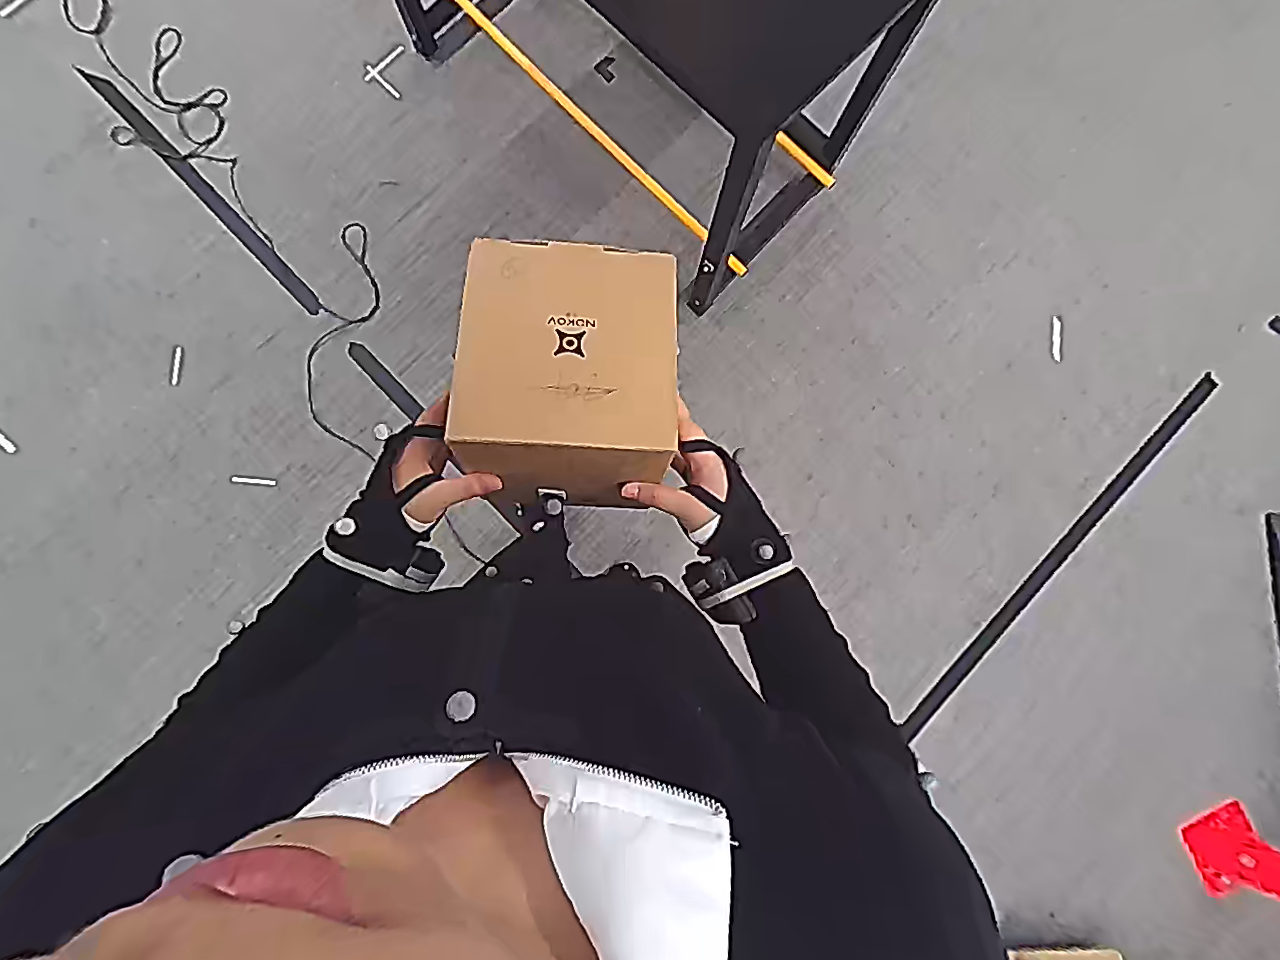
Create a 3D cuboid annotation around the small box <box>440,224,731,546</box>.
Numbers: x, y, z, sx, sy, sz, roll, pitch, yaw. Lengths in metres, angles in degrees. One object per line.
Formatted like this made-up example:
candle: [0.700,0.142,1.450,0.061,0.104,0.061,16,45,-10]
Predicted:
small box: [-0.037,-0.054,0.402,0.168,0.176,0.179,1,73,-6]
